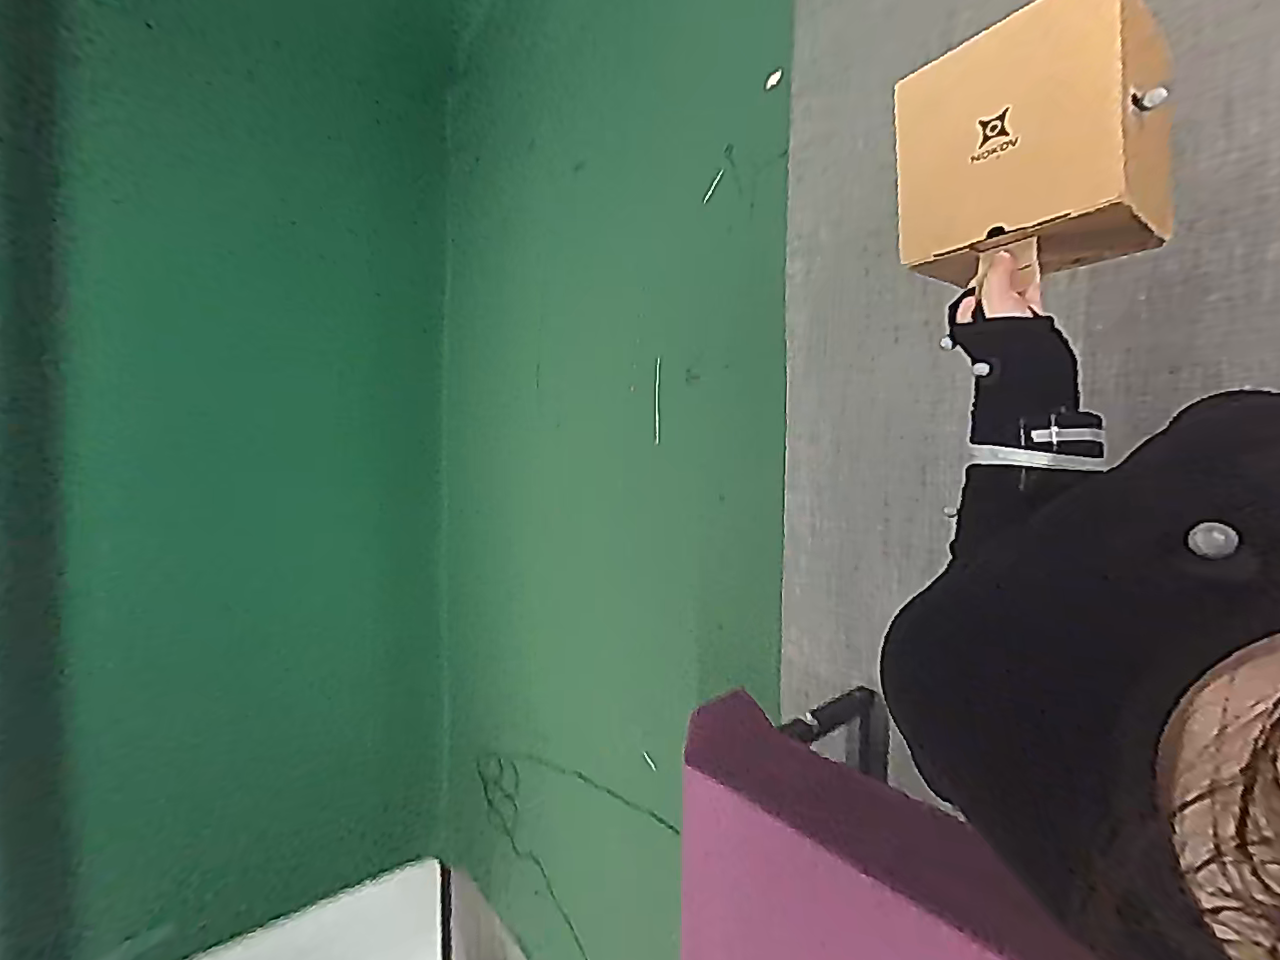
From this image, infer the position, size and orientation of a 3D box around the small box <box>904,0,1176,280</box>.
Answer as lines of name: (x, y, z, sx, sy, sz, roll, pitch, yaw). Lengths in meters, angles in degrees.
small box: (0.366, -0.302, 0.500, 0.168, 0.176, 0.179, 4, 98, 52)
